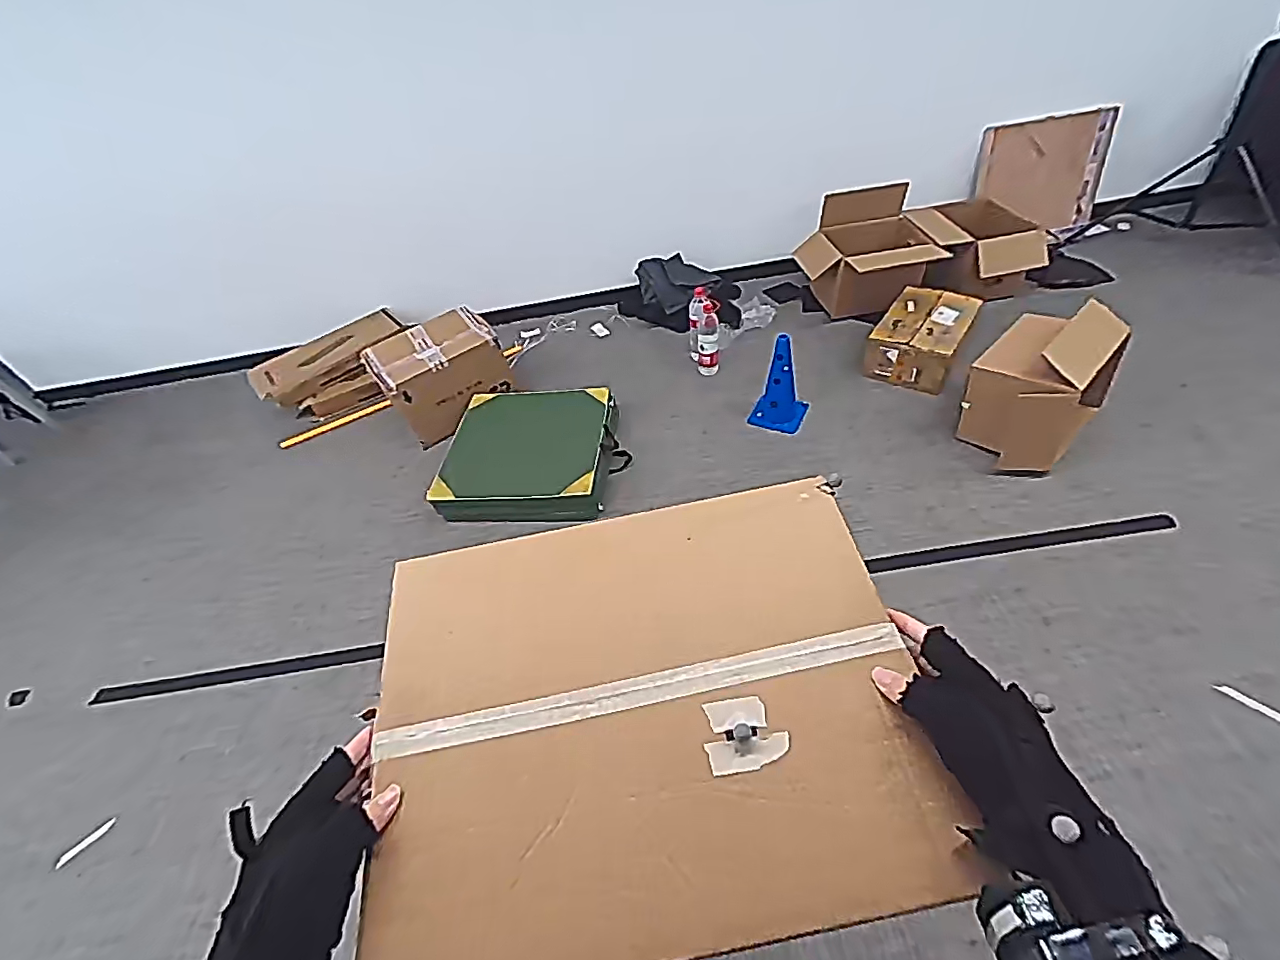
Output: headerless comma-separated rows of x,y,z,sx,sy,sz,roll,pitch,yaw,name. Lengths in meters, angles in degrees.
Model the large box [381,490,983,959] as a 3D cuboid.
0.017,0.257,0.548,0.408,0.320,0.320,-11,54,-1,large box
